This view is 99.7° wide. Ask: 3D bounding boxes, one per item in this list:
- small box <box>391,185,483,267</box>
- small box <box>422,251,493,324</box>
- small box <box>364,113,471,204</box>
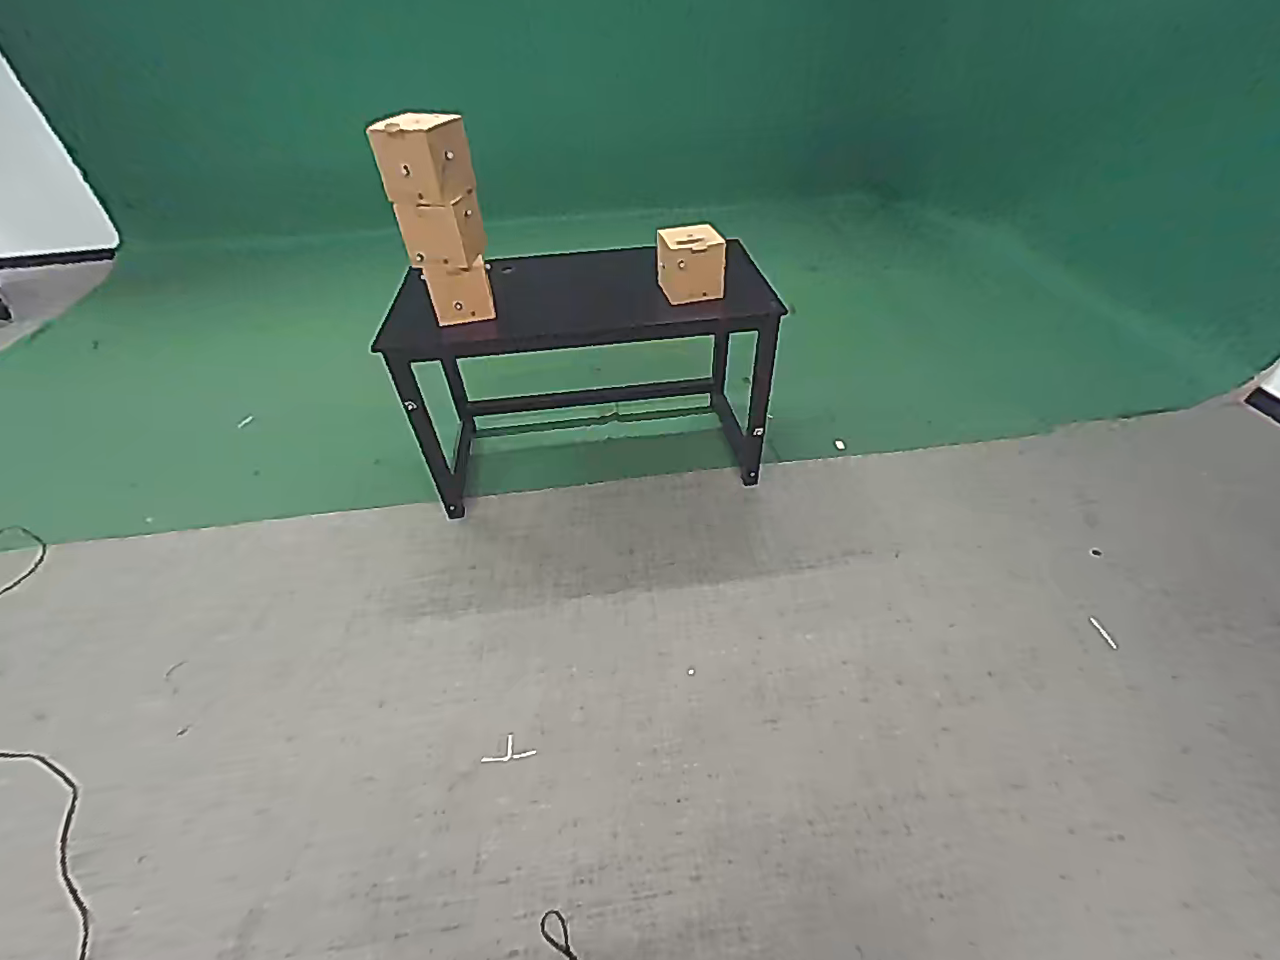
[{"bbox_3d":[-0.554,-0.706,1.506,0.168,0.176,0.179,3,44,5],"label":"small box"},{"bbox_3d":[-0.545,-0.587,1.619,0.168,0.176,0.179,-12,45,-10],"label":"small box"},{"bbox_3d":[-0.562,-0.830,1.397,0.168,0.176,0.179,11,46,13],"label":"small box"}]
